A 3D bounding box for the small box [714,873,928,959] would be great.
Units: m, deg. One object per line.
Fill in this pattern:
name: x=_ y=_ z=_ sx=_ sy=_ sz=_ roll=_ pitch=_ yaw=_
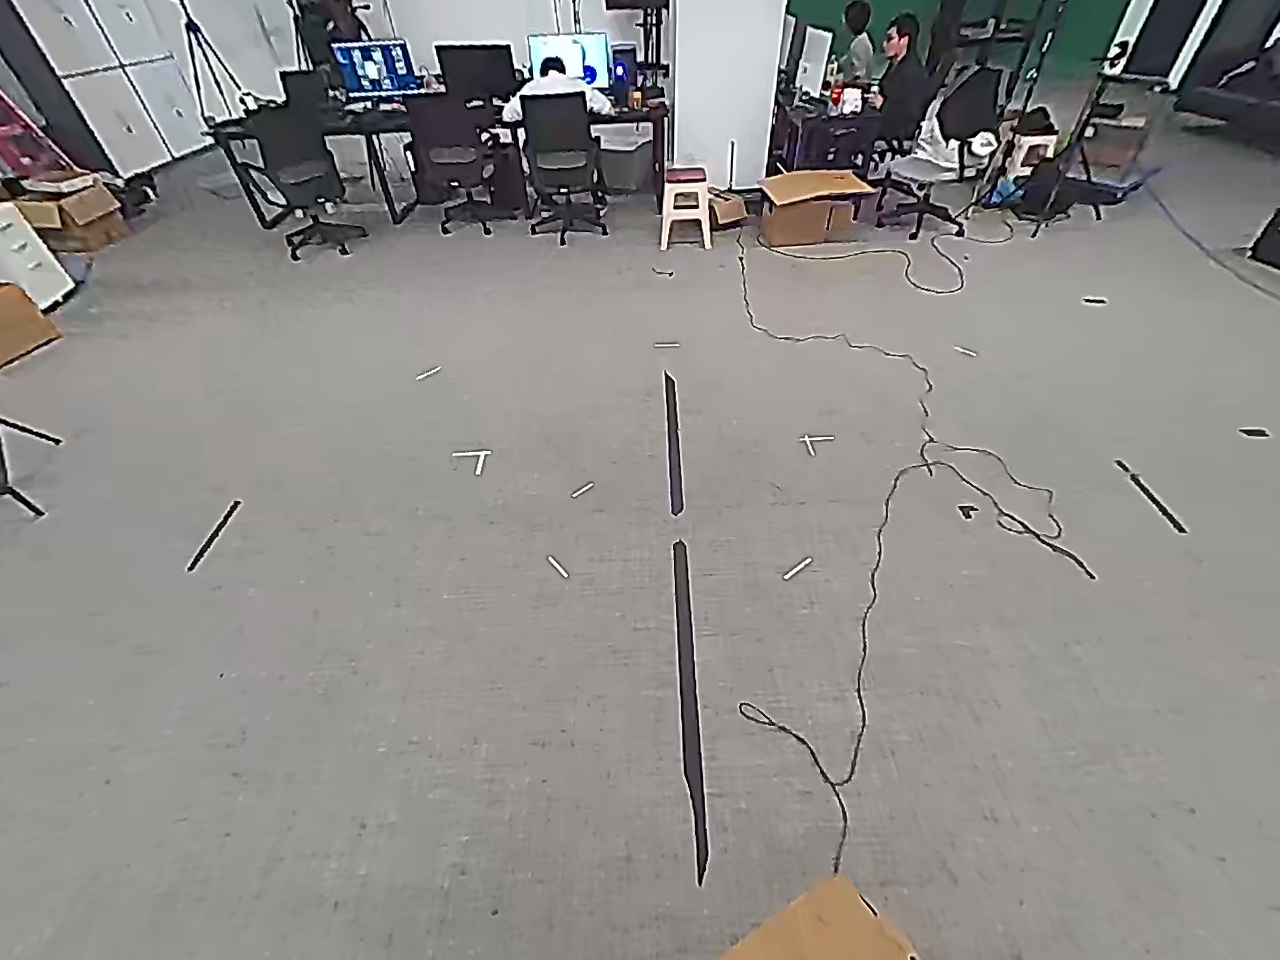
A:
small box: x=0.171 y=0.473 z=0.418 sx=0.179 sy=0.168 sz=0.176 roll=-27 pitch=86 yaw=-10
